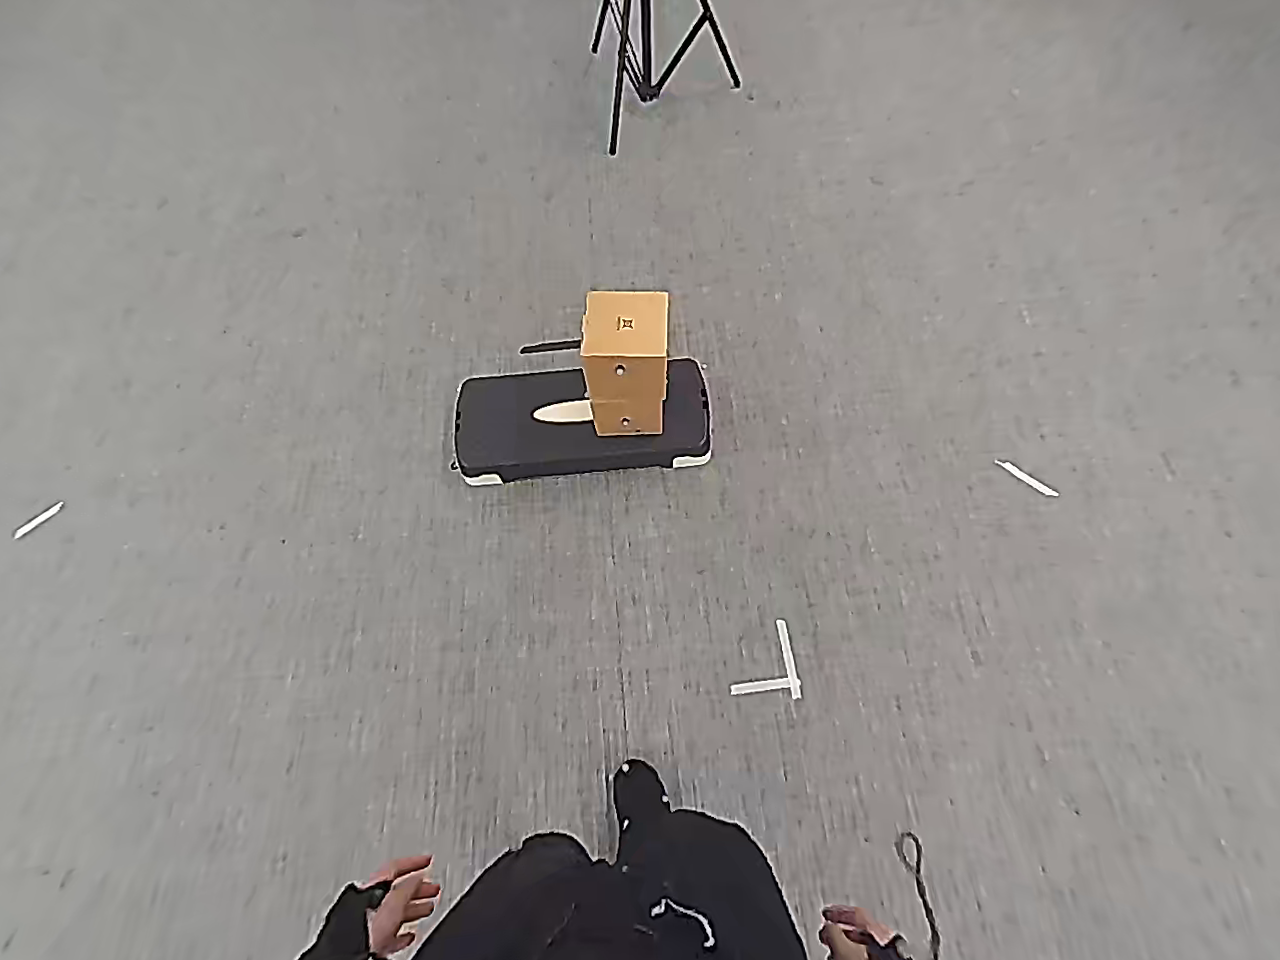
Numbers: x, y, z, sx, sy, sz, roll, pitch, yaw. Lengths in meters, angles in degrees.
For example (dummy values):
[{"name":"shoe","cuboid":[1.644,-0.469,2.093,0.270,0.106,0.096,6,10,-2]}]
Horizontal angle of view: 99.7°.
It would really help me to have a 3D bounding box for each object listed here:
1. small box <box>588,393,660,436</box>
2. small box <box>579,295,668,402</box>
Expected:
[{"name":"small box","cuboid":[-0.034,-0.217,1.329,0.168,0.176,0.179,-1,67,1]},{"name":"small box","cuboid":[-0.030,-0.282,1.180,0.179,0.176,0.168,1,68,3]}]
